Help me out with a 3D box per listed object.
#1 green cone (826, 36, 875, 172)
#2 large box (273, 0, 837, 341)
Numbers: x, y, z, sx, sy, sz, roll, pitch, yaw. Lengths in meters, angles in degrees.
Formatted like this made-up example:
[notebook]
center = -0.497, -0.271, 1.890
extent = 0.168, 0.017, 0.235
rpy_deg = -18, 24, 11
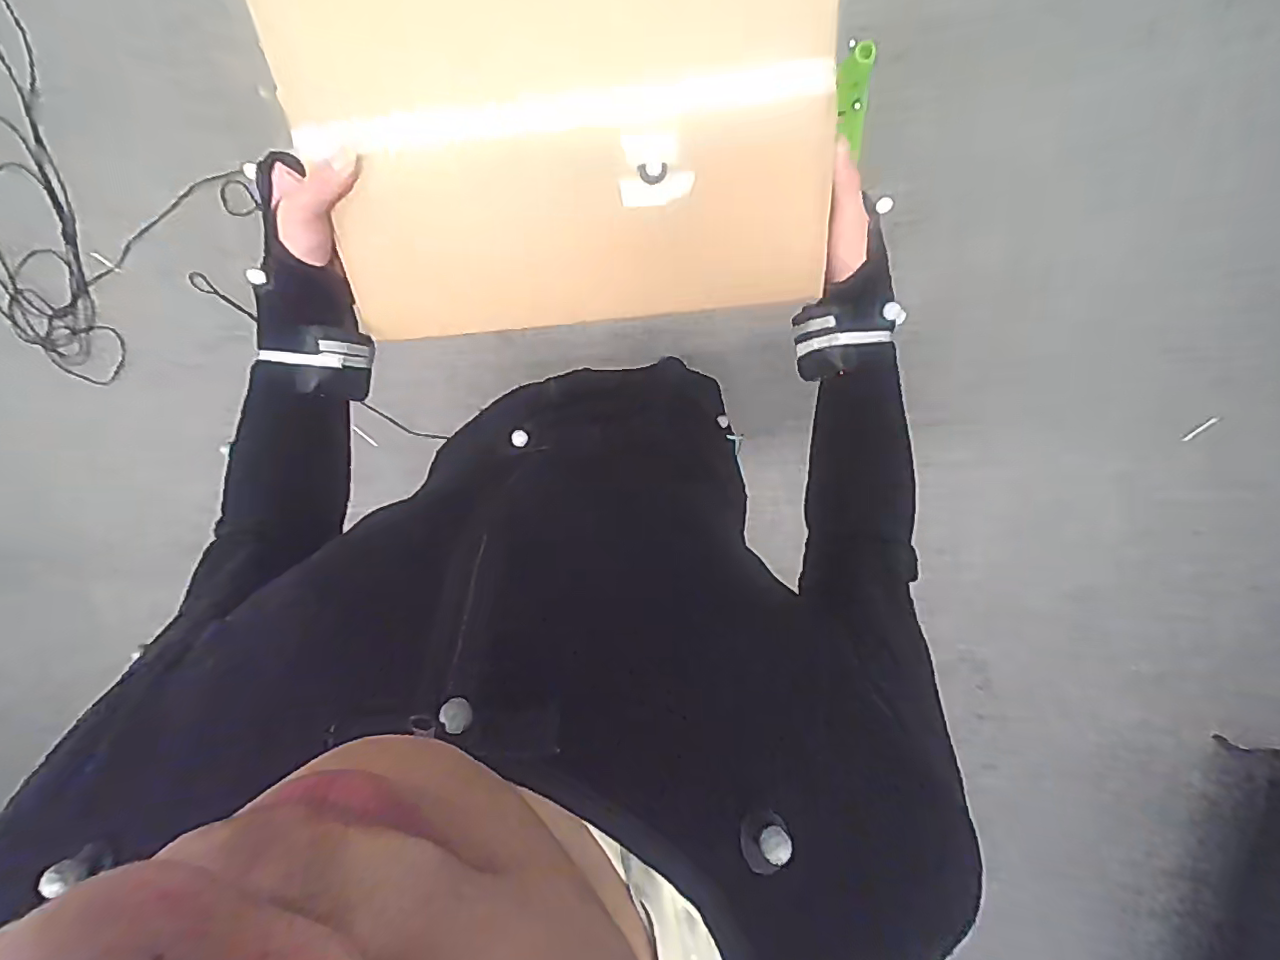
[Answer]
[green cone]
center = 0.445, -0.857, 1.203
extent = 0.200, 0.368, 0.202
rpy_deg = 4, 103, 3
[large box]
center = -0.055, -0.351, 0.545
extent = 0.408, 0.320, 0.320
rpy_deg = -5, 120, 3
